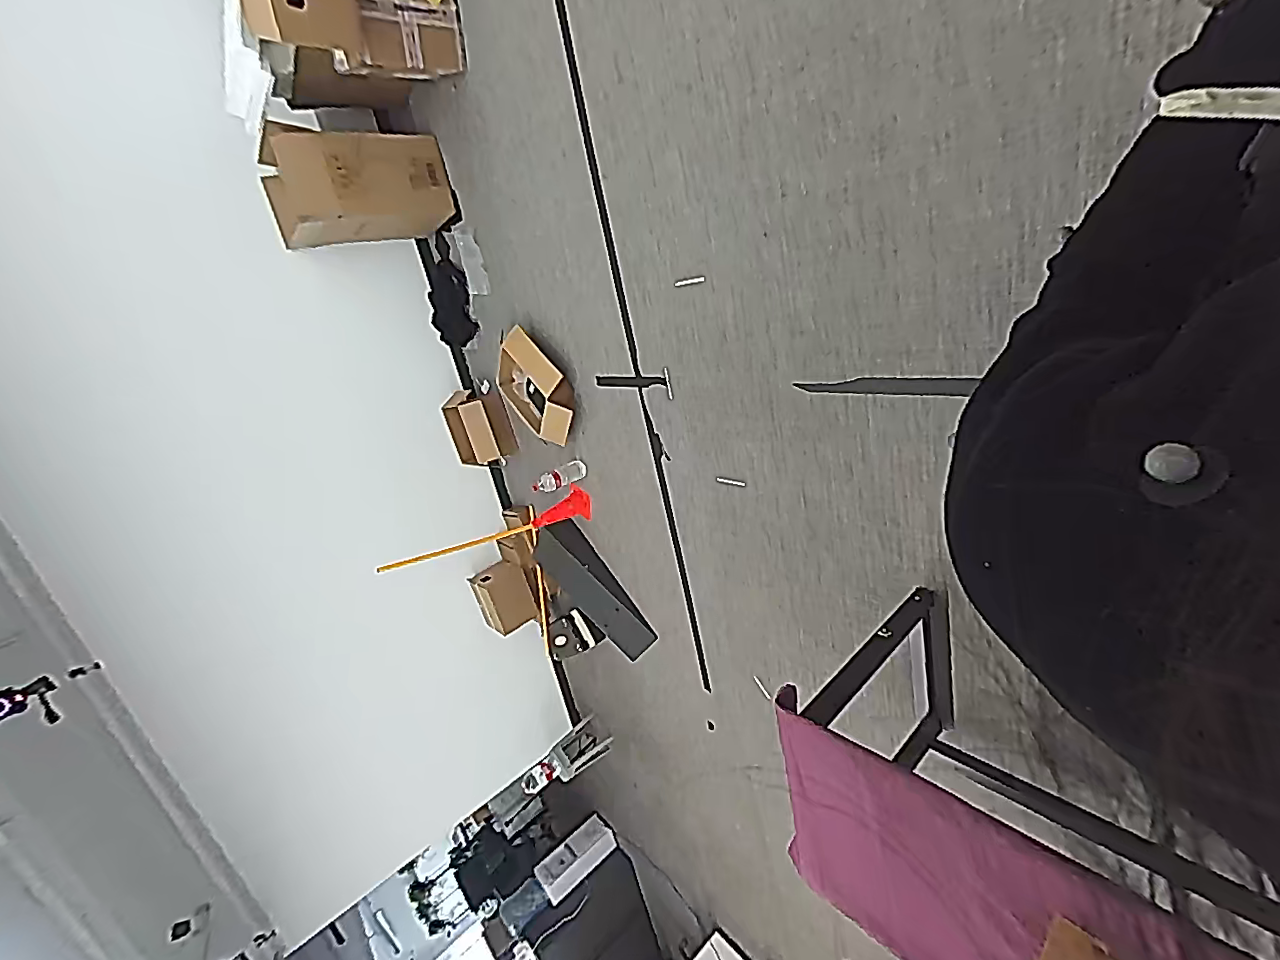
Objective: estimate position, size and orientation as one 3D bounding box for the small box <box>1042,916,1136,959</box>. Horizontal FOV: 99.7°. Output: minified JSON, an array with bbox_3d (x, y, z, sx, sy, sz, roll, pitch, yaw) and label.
[{"bbox_3d":[0.734,0.866,0.859,0.168,0.176,0.179,14,124,48],"label":"small box"}]
